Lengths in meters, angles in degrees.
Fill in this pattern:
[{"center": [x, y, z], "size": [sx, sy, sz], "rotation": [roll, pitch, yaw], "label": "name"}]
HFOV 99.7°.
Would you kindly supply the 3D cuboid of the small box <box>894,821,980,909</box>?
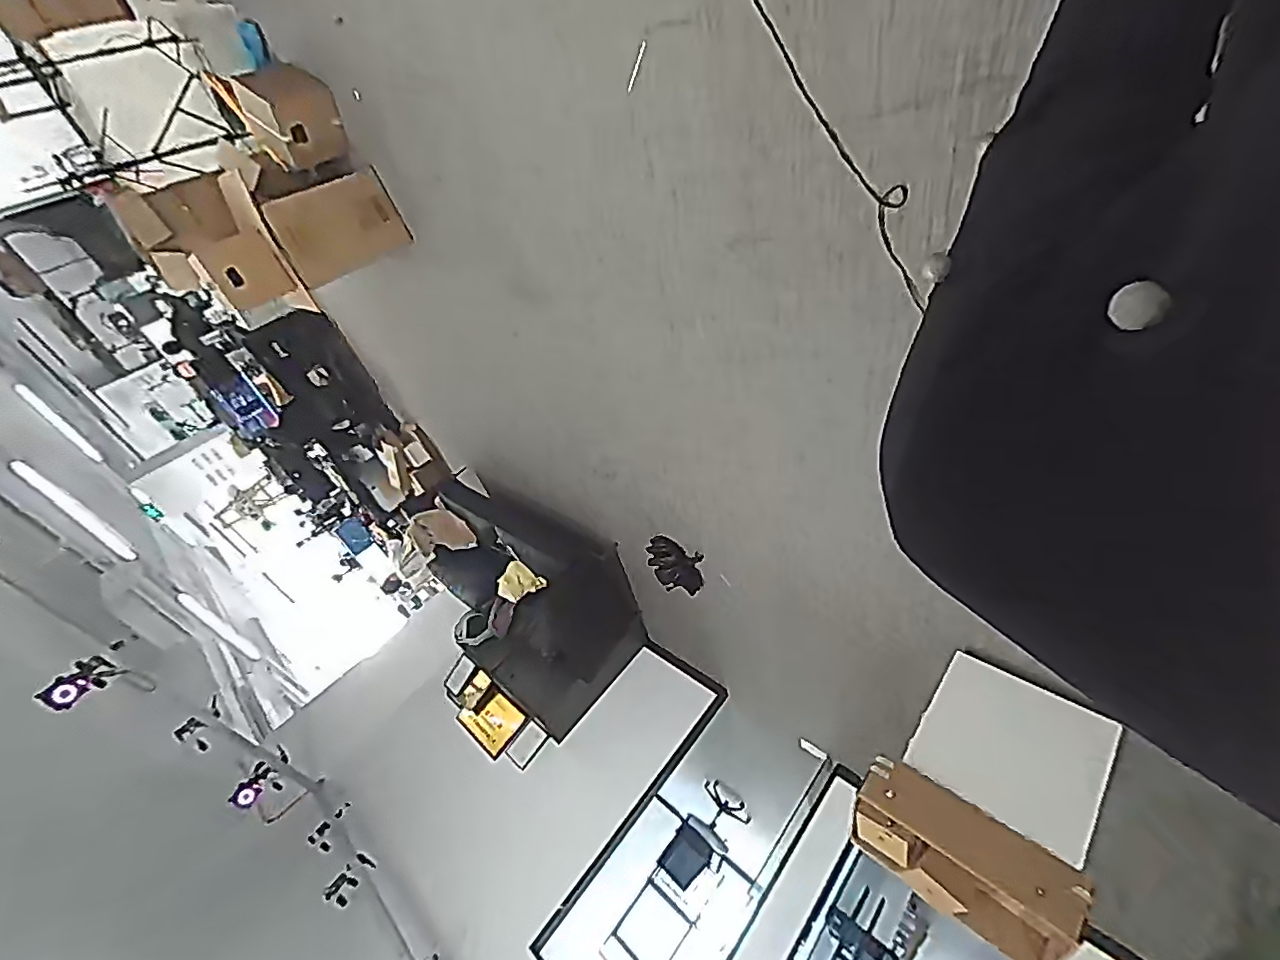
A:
[{"center": [0.989, 1.276, 1.795], "size": [0.168, 0.176, 0.179], "rotation": [36, 144, 22], "label": "small box"}]
